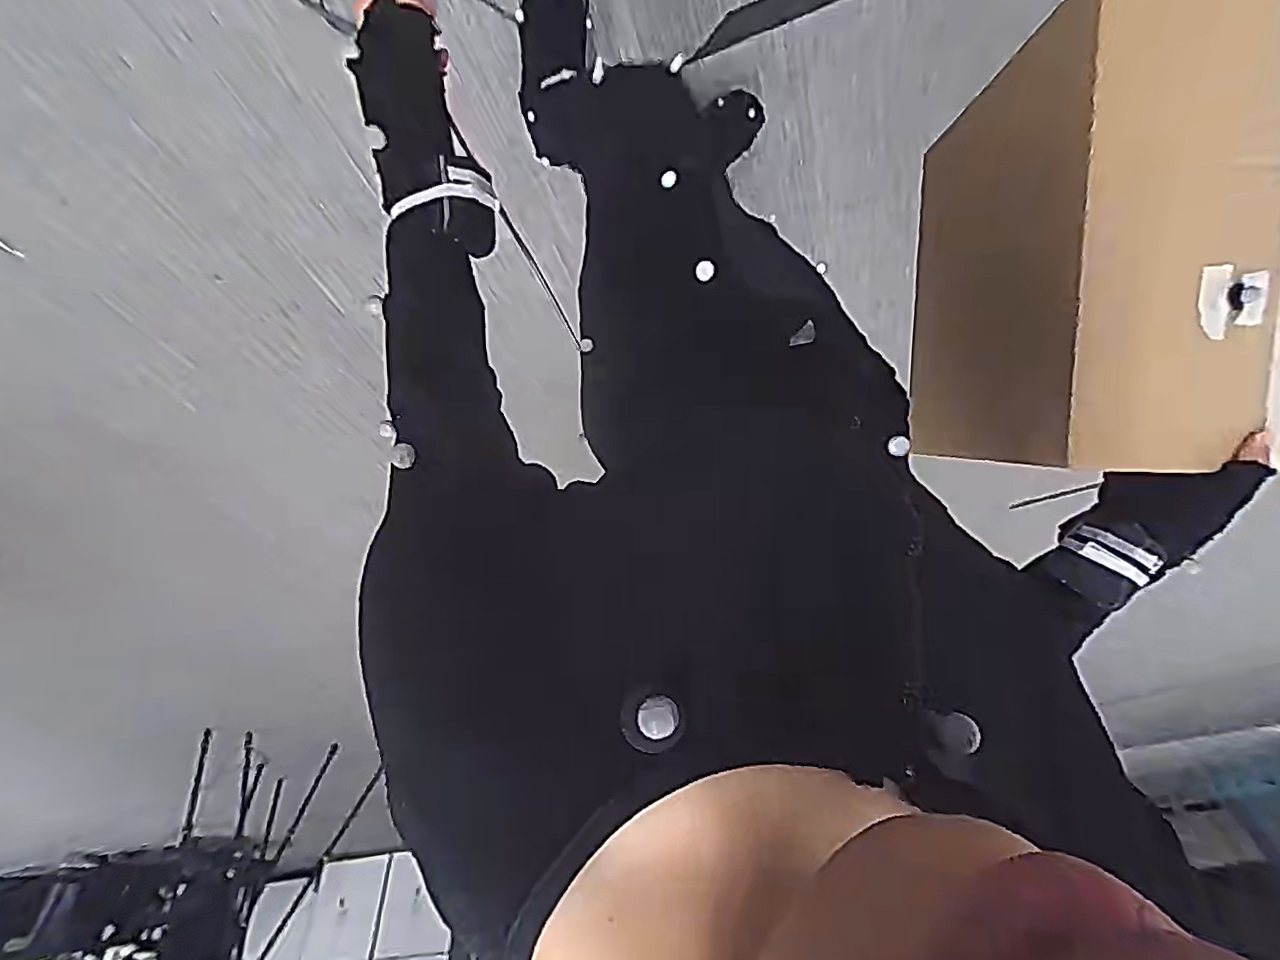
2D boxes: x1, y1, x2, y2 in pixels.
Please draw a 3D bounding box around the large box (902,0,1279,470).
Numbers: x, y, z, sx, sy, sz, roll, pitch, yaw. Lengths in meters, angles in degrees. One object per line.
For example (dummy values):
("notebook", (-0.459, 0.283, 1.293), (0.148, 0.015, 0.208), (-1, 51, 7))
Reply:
("large box", (0.507, -0.224, 0.582), (0.320, 0.320, 0.408), (1, 96, 3))
